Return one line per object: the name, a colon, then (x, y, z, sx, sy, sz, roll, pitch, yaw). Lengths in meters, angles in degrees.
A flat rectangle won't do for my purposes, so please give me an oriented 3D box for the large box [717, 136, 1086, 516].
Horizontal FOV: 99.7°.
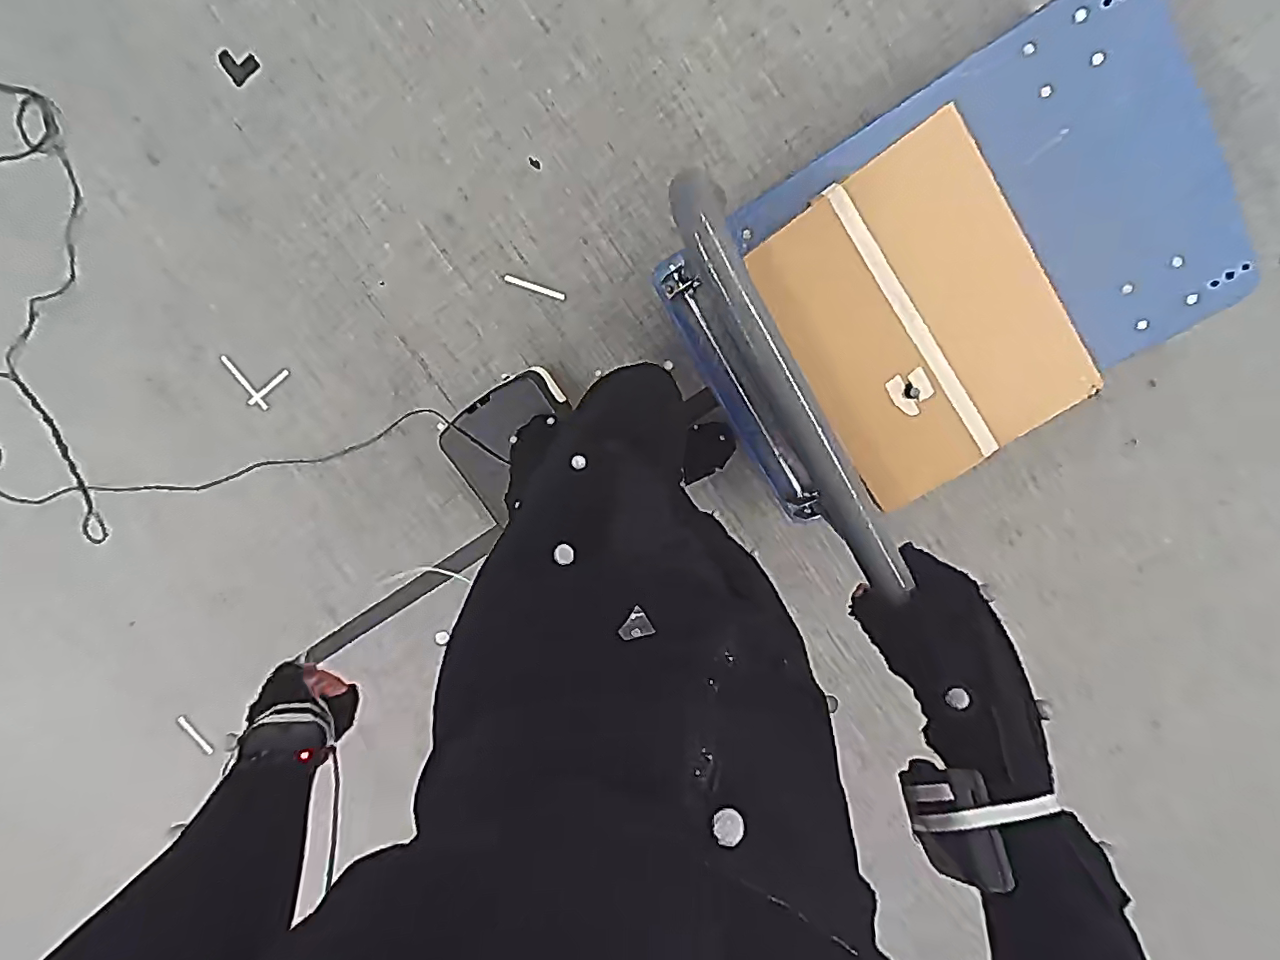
large box: (0.367, -0.222, 0.862, 0.320, 0.320, 0.408, -34, 100, 13)
